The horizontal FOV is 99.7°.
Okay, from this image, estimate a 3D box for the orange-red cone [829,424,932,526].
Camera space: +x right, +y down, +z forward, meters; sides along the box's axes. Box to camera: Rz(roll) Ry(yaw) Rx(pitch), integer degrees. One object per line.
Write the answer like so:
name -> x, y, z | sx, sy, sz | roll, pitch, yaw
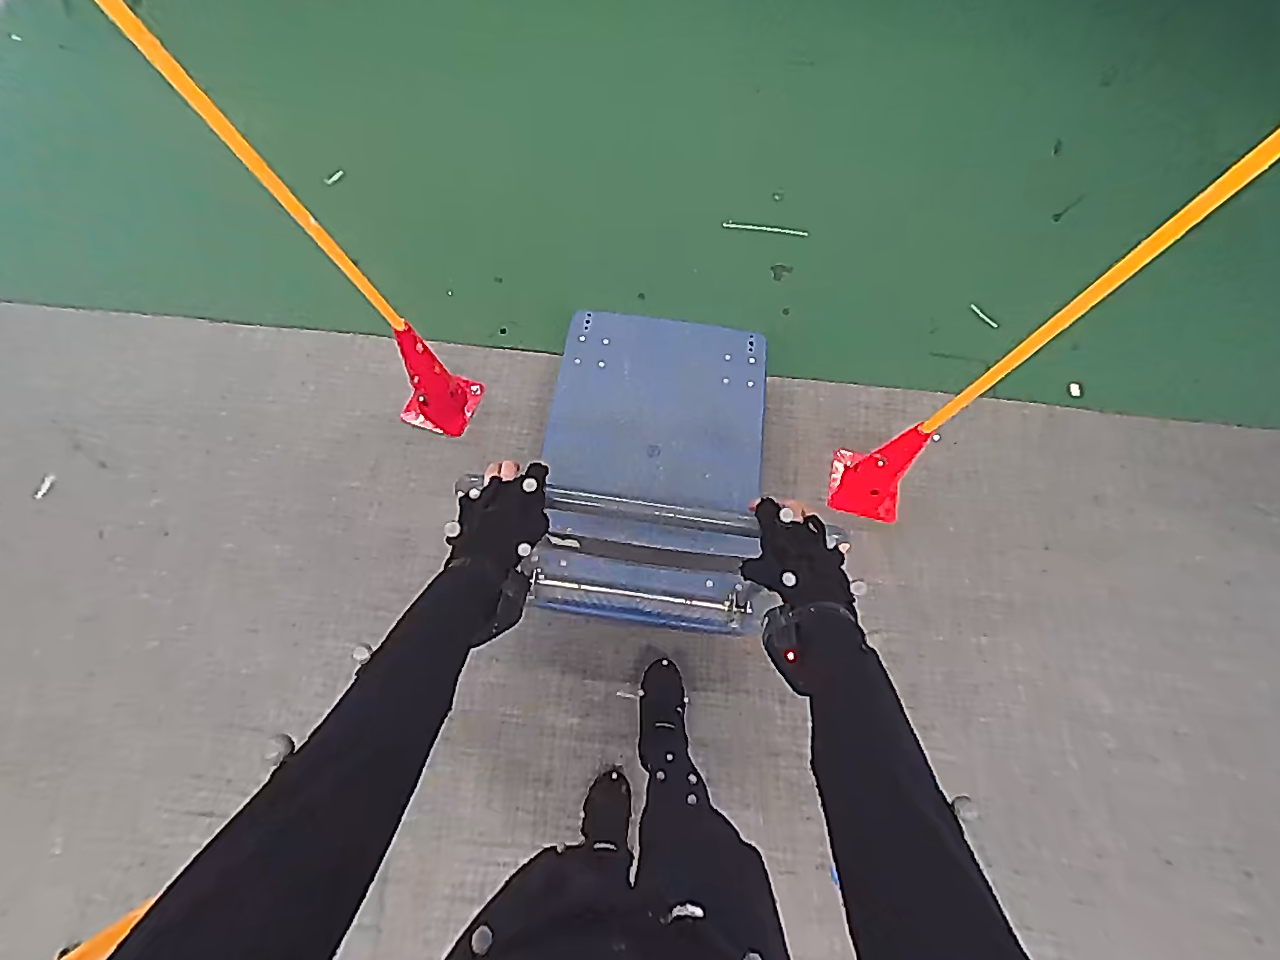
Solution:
orange-red cone -> 0.672, -0.043, 1.439 | 0.198, 0.360, 0.199 | 16, 67, 5
